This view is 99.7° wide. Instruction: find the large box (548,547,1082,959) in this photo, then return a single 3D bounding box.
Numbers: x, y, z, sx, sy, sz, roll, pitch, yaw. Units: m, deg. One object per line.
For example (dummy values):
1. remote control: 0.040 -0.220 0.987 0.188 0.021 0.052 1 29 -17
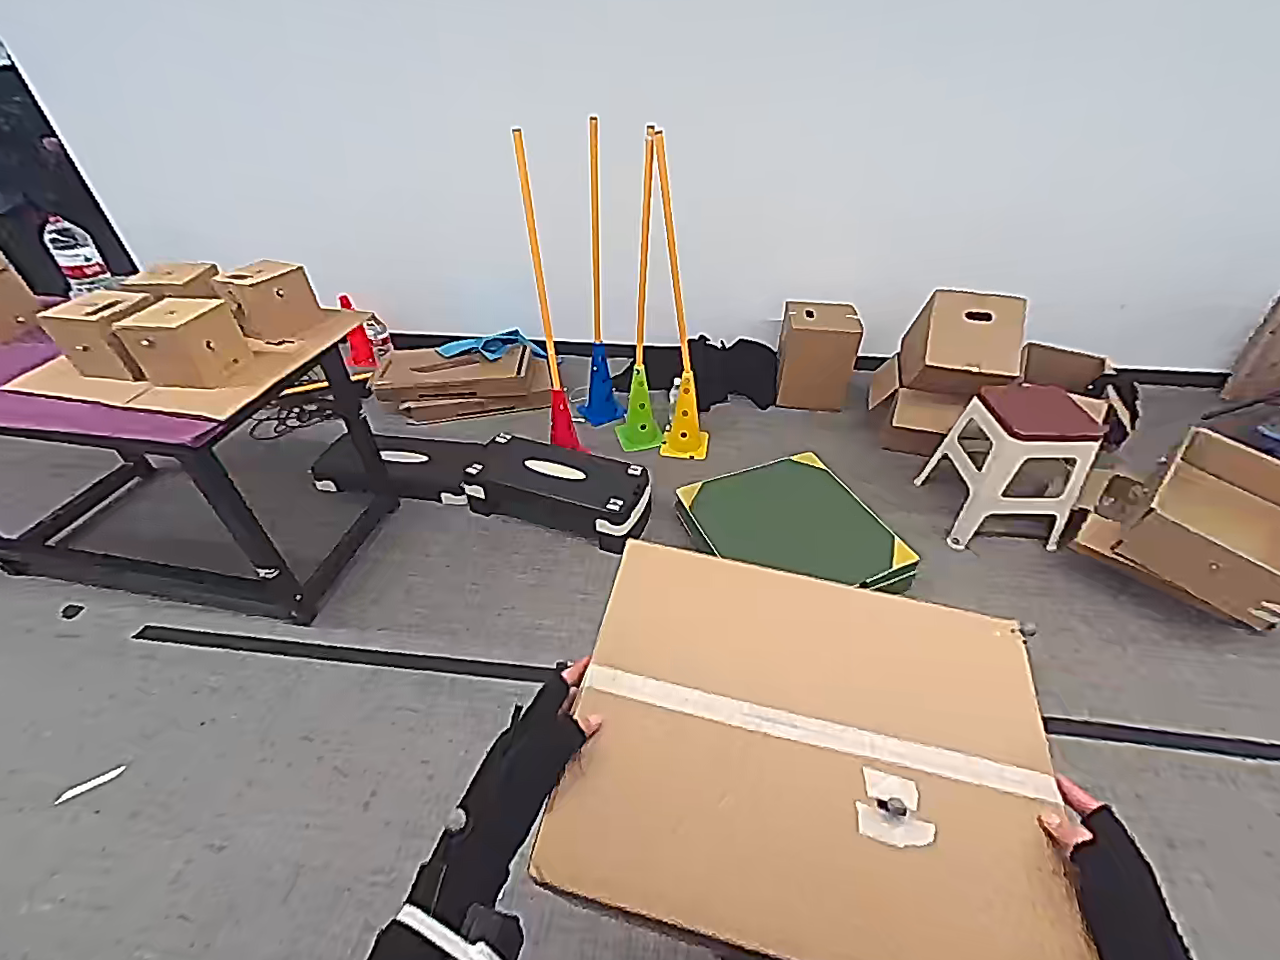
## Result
1. large box: 0.146 0.318 0.602 0.408 0.320 0.320 12 51 8
